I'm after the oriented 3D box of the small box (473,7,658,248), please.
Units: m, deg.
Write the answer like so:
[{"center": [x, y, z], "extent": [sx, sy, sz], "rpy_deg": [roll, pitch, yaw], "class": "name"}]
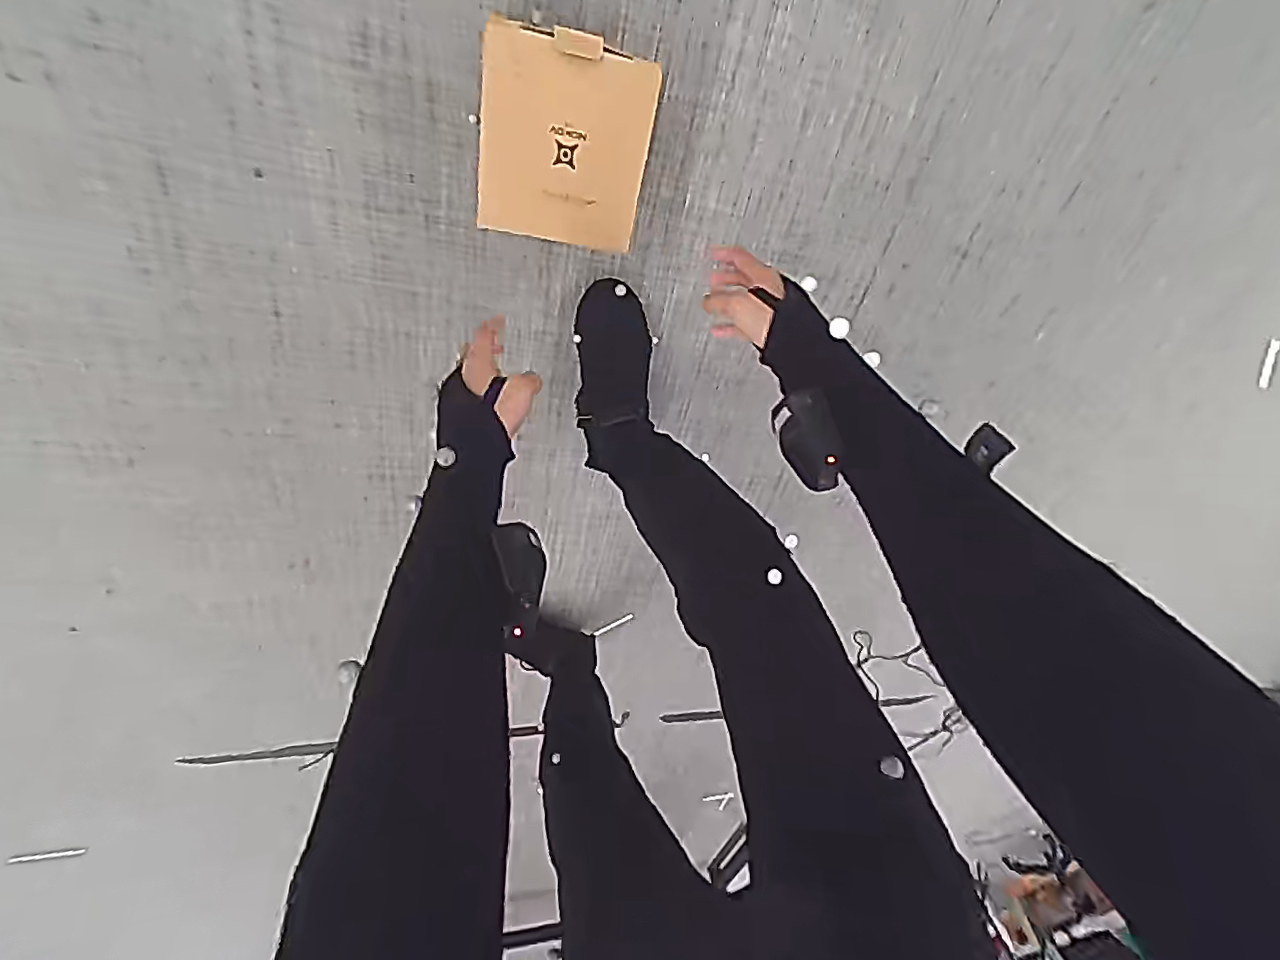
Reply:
[{"center": [-0.093, -0.382, 0.599], "extent": [0.168, 0.176, 0.179], "rpy_deg": [4, 126, -16], "class": "small box"}]
